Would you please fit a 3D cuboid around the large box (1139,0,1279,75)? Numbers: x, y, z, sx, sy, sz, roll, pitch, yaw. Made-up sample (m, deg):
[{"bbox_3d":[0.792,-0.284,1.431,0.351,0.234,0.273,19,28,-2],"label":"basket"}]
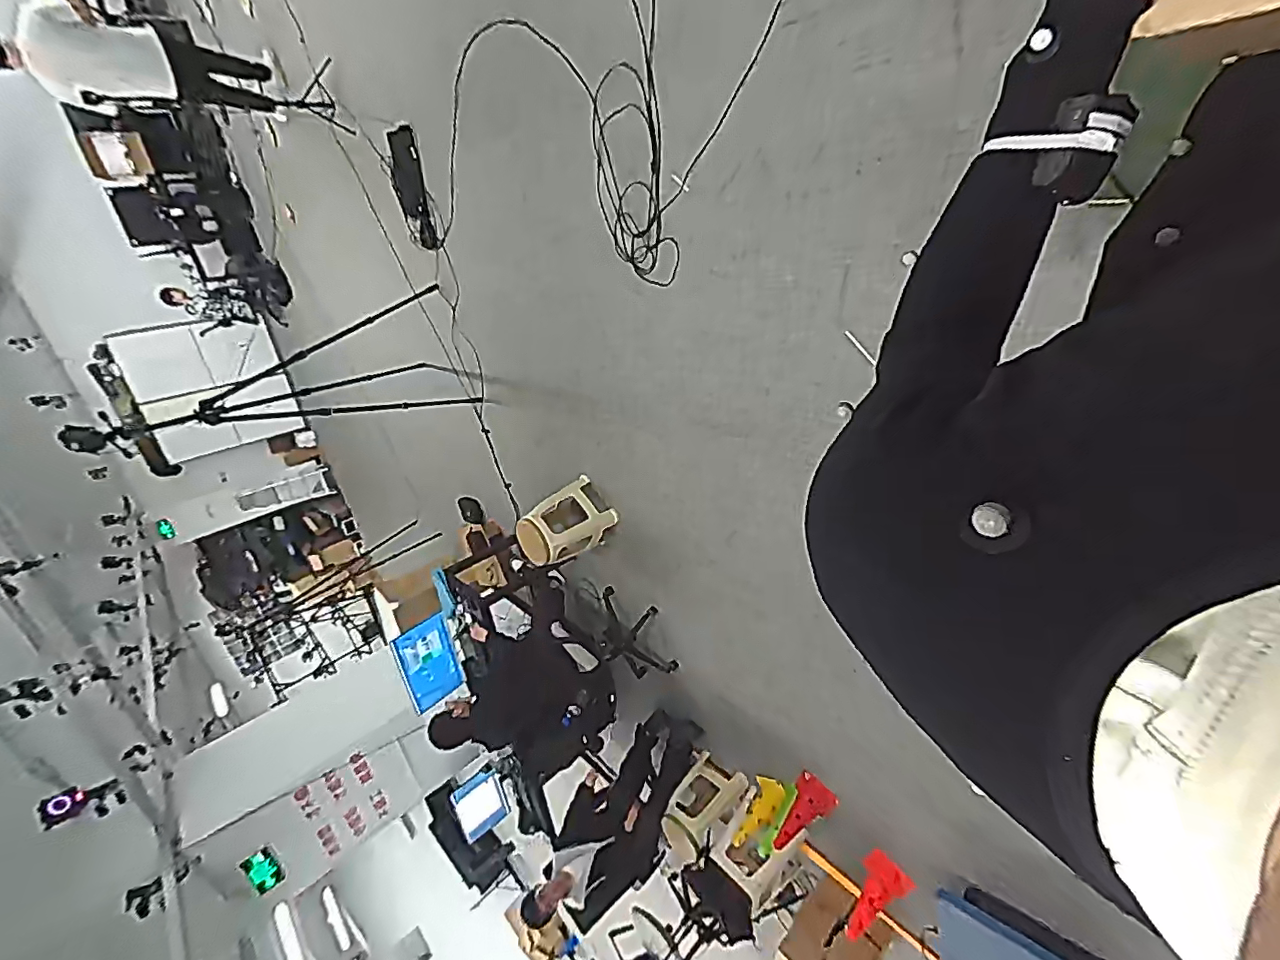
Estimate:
[{"bbox_3d":[0.582,-0.467,0.287,0.408,0.320,0.320,18,125,42],"label":"large box"}]
